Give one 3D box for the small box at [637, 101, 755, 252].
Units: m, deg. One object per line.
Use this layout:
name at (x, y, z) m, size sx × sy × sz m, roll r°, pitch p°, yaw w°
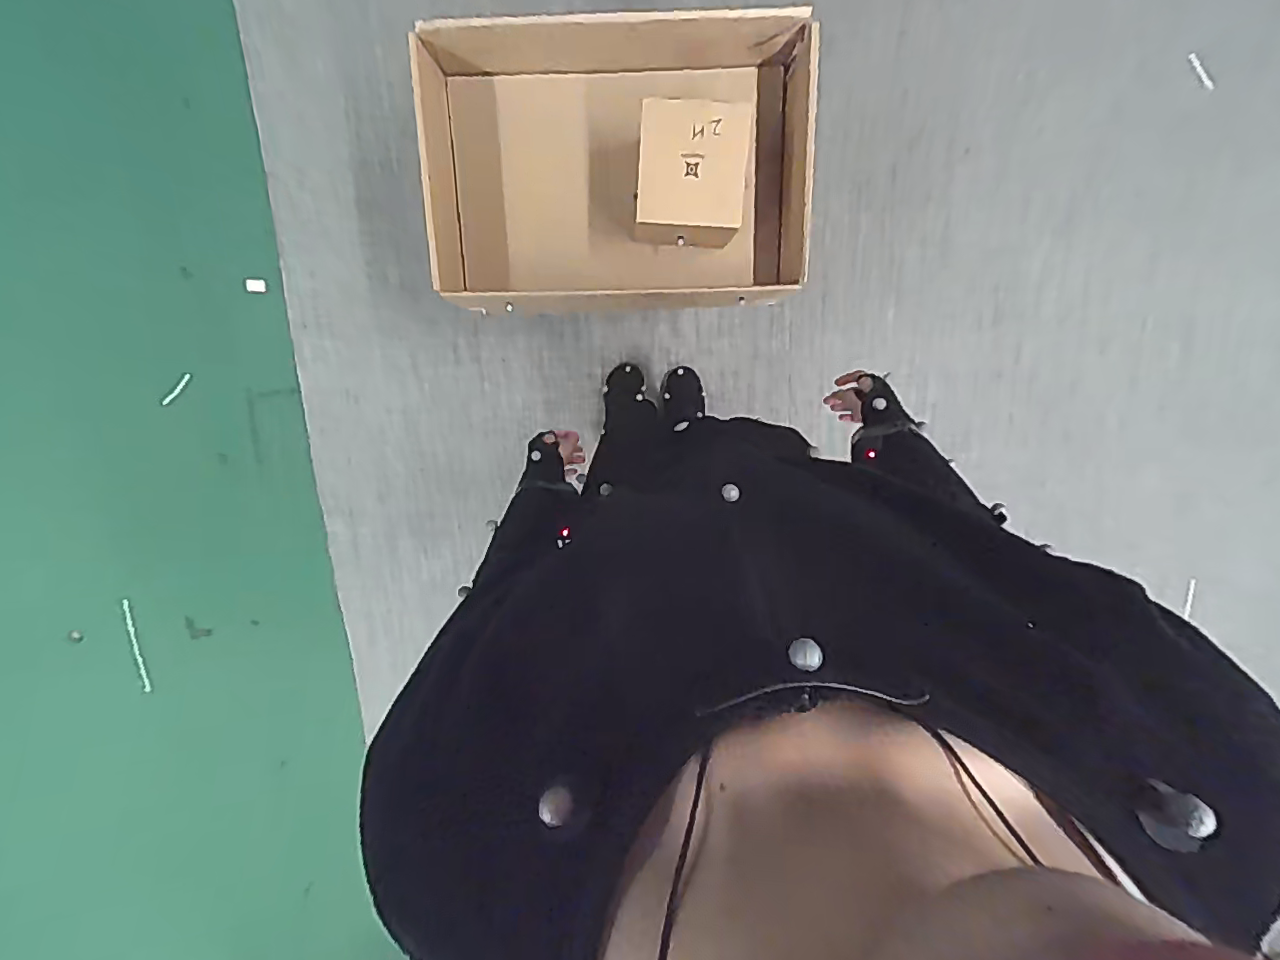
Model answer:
small box at (0.084, -0.485, 0.891) m, size 0.168 × 0.176 × 0.179 m, roll 4°, pitch 102°, yaw 0°
